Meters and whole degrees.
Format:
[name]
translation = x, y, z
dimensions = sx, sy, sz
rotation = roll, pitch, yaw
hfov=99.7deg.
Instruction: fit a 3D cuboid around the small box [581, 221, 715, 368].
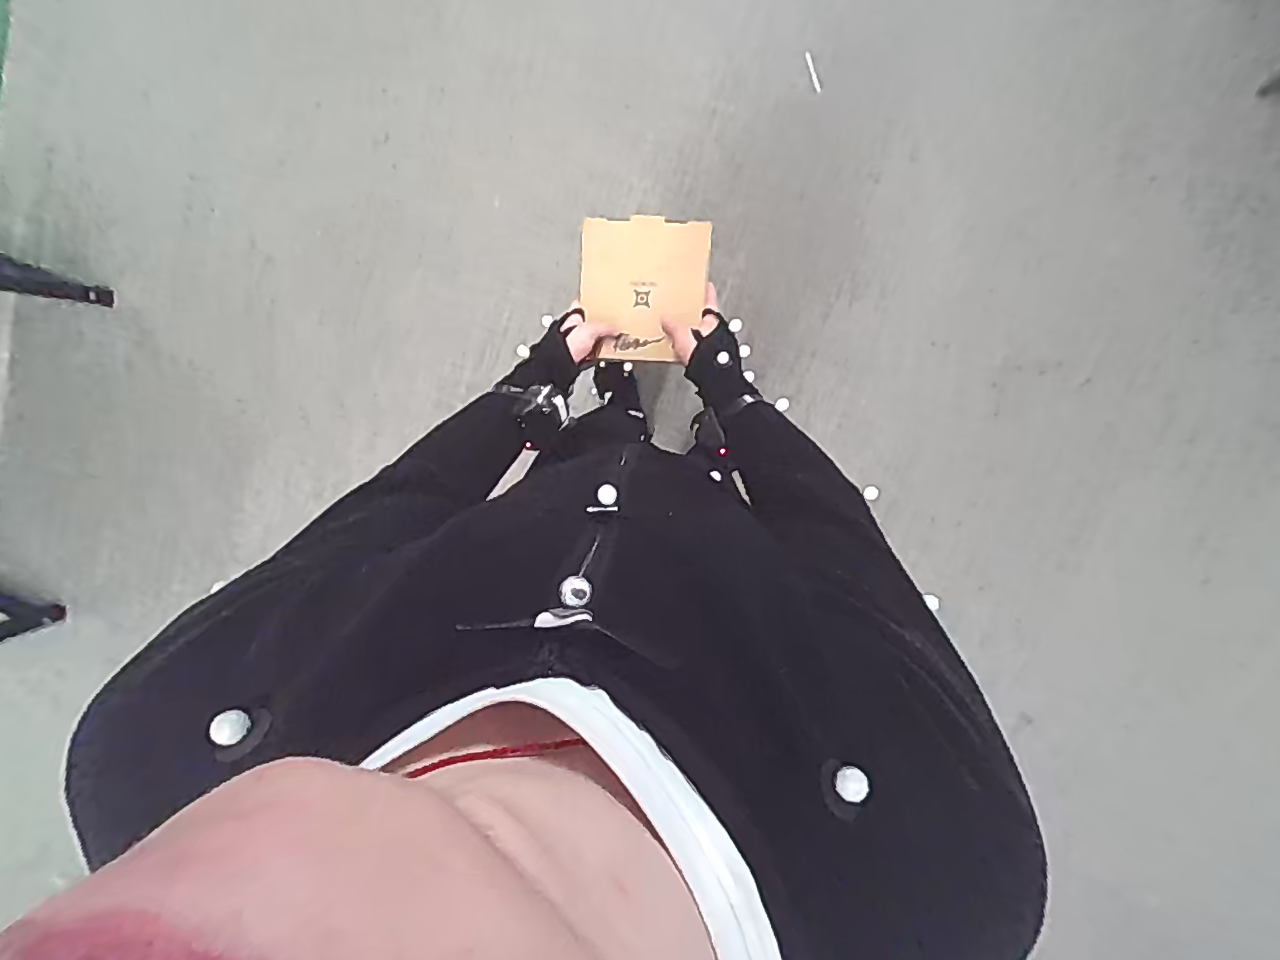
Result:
[small box]
translation = 0.013, -0.255, 0.779
dimensions = 0.168, 0.176, 0.179
rotation = 4, 102, 4
